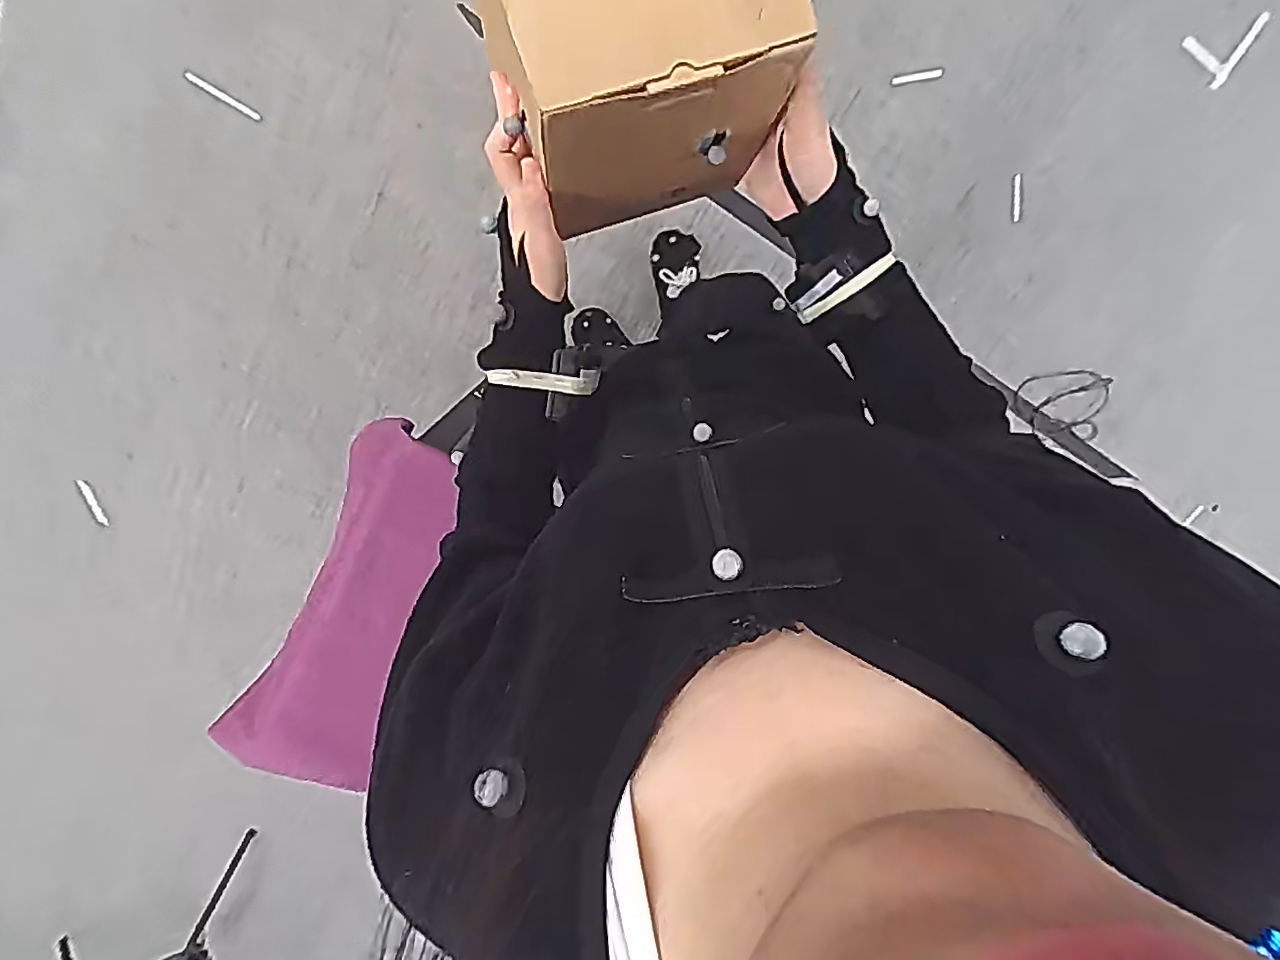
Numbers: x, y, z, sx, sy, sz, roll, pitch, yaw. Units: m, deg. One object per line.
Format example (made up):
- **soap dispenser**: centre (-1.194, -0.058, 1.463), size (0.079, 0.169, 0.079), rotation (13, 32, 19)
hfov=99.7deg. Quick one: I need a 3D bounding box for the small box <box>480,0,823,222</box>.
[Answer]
- **small box**: centre (-0.010, -0.301, 0.364), size (0.168, 0.176, 0.179), rotation (-20, 93, -6)
